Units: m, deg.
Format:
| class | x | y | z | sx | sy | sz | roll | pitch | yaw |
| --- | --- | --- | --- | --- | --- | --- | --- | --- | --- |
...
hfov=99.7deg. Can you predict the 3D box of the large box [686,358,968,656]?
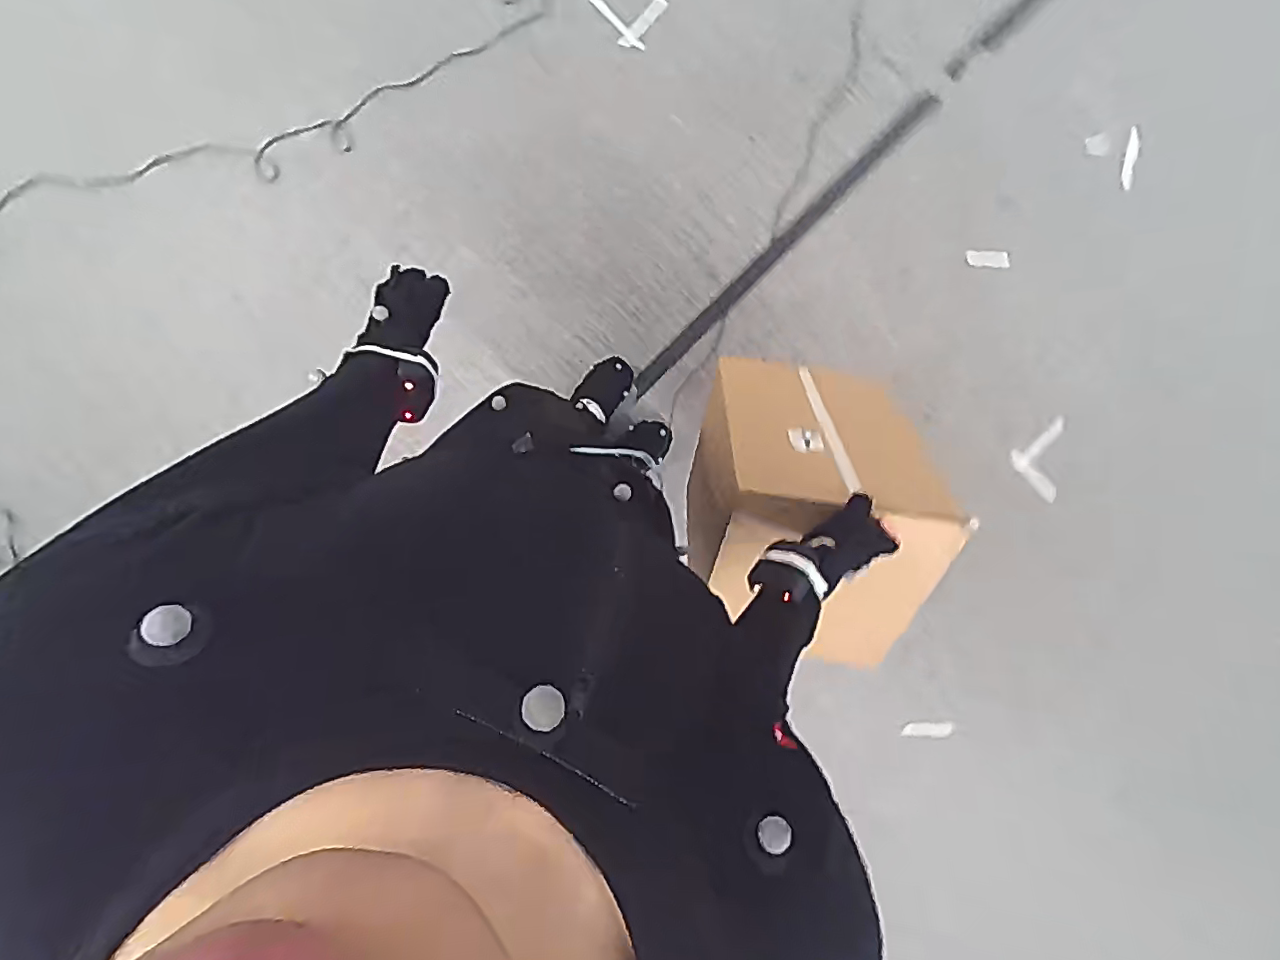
| class | x | y | z | sx | sy | sz | roll | pitch | yaw |
| --- | --- | --- | --- | --- | --- | --- | --- | --- | --- |
| large box | 0.266 | 0.033 | 0.943 | 0.320 | 0.408 | 0.320 | 8 | 128 | -2 |
